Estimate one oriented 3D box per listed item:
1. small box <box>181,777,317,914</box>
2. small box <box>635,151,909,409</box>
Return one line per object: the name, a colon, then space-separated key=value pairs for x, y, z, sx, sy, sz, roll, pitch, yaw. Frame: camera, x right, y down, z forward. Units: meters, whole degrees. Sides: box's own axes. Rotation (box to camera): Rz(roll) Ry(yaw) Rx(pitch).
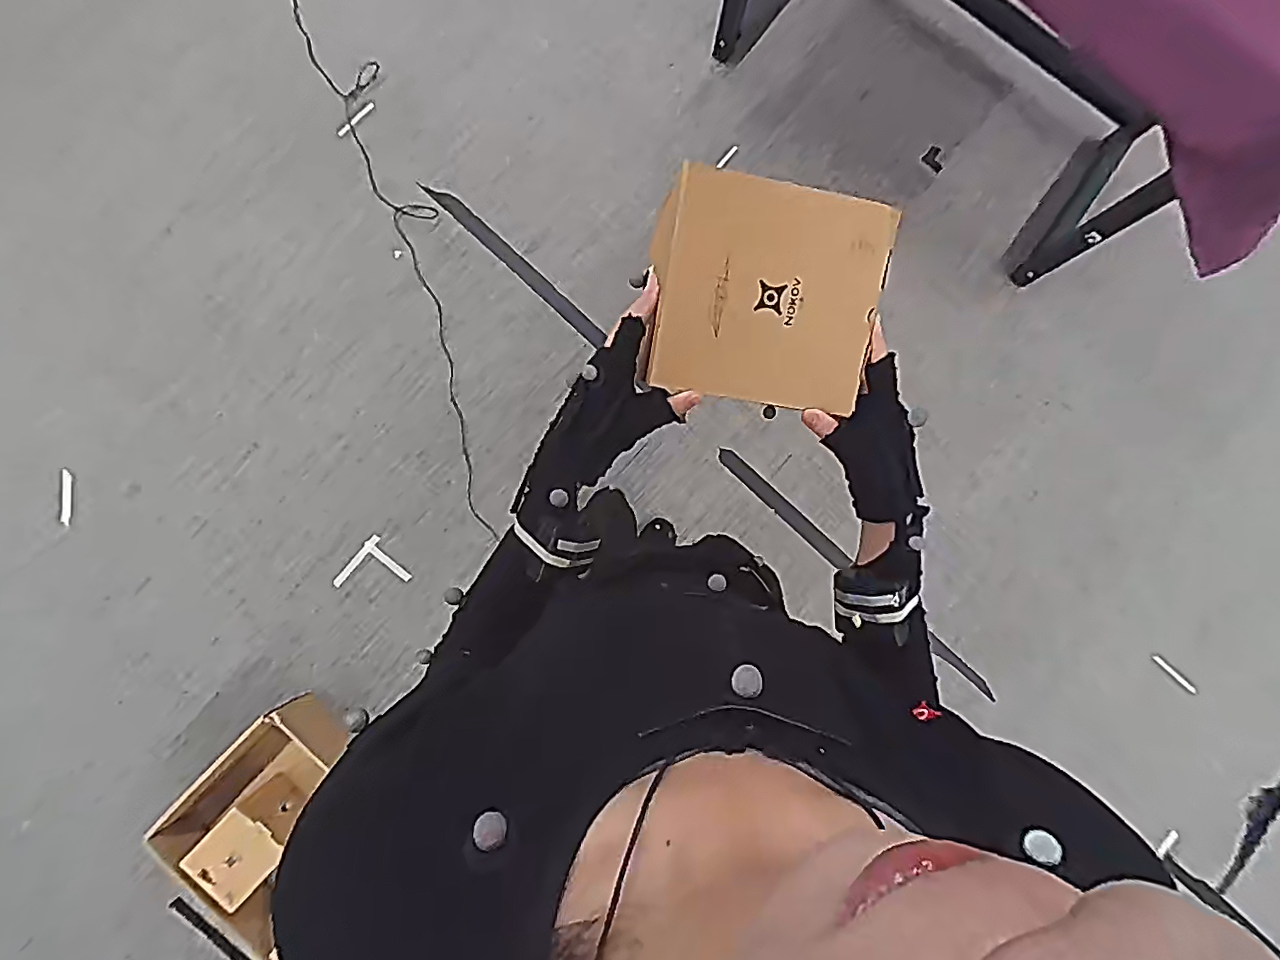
small box: x=-0.914 y=0.858 z=1.291 sx=0.168 sy=0.176 sz=0.179 roll=44 pitch=83 yaw=1
small box: x=0.099 y=-0.164 z=0.489 sx=0.179 sy=0.176 sz=0.168 roll=7 pitch=101 yaw=-8
